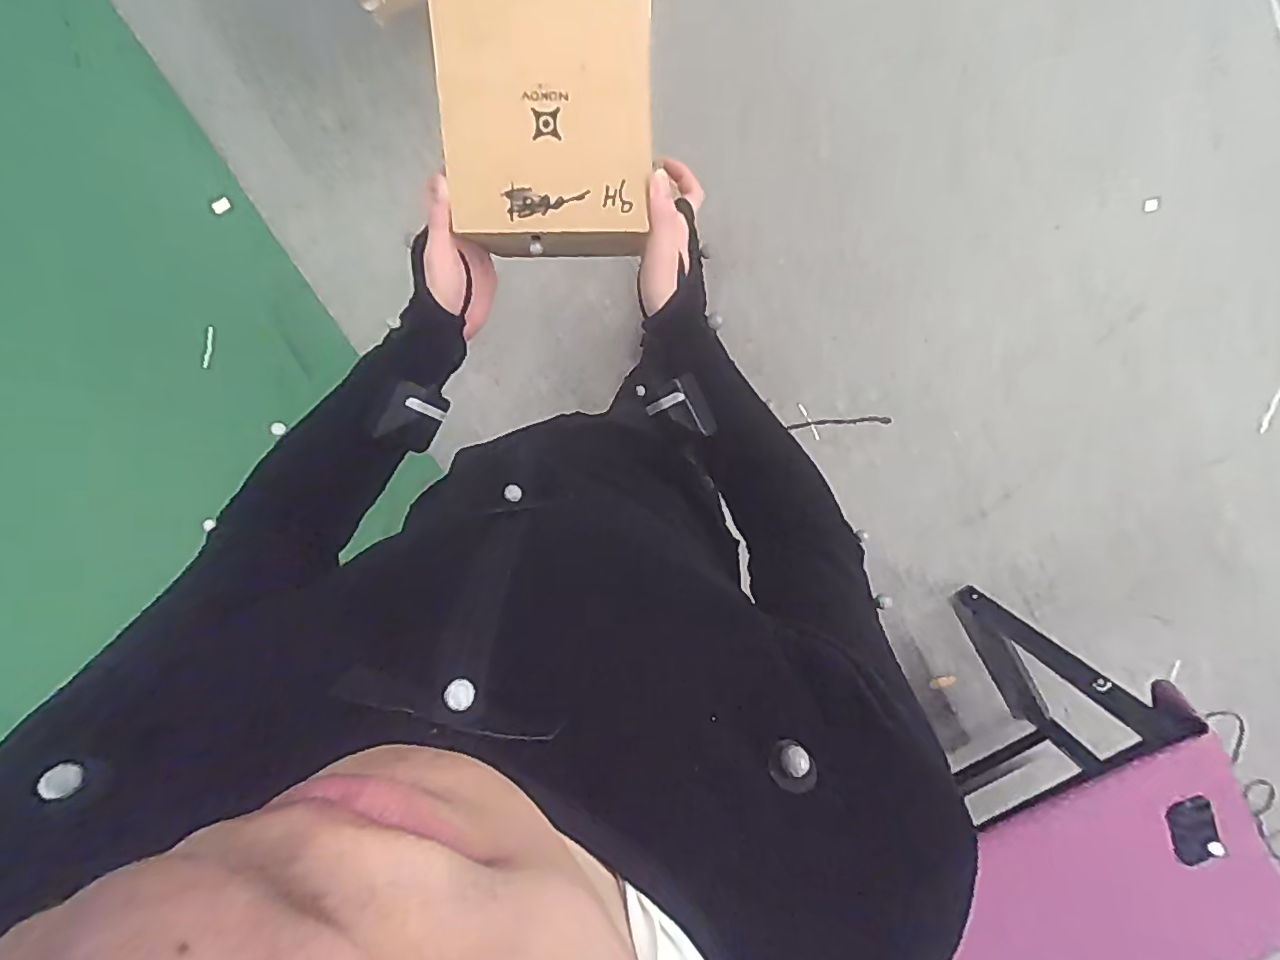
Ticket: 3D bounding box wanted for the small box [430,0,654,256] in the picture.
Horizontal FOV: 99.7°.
[{"bbox_3d":[-0.075,-0.309,0.488,0.168,0.176,0.179,-1,105,-2],"label":"small box"}]
